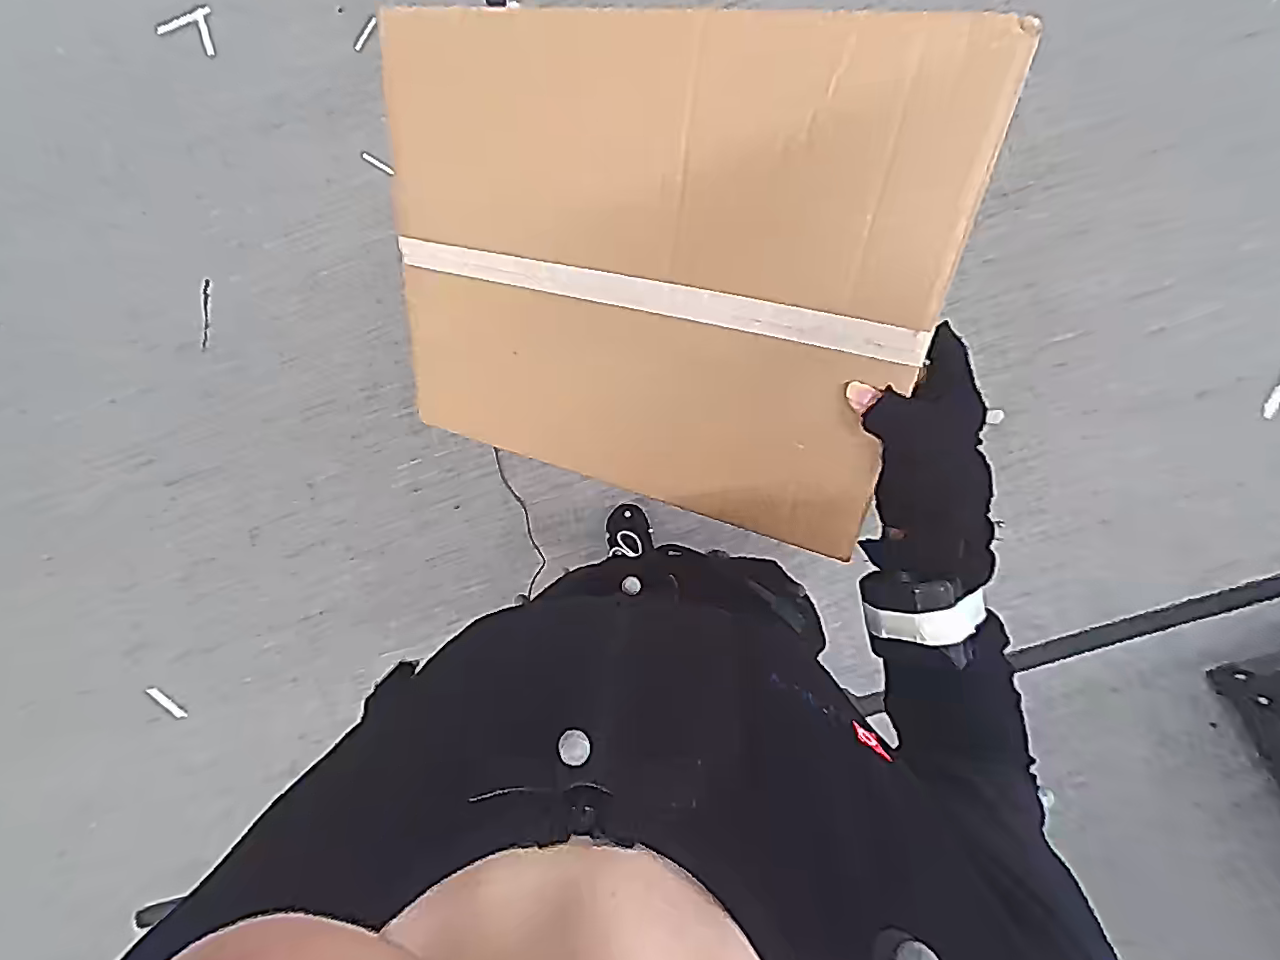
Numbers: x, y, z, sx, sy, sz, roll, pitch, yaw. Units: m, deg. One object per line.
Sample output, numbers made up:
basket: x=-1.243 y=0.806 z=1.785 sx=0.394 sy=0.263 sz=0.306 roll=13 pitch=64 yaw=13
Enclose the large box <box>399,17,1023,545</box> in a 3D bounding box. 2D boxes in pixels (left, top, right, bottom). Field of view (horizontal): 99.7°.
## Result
large box: x=0.049 y=-0.195 z=0.515 sx=0.408 sy=0.320 sz=0.320 roll=18 pitch=121 yaw=18
